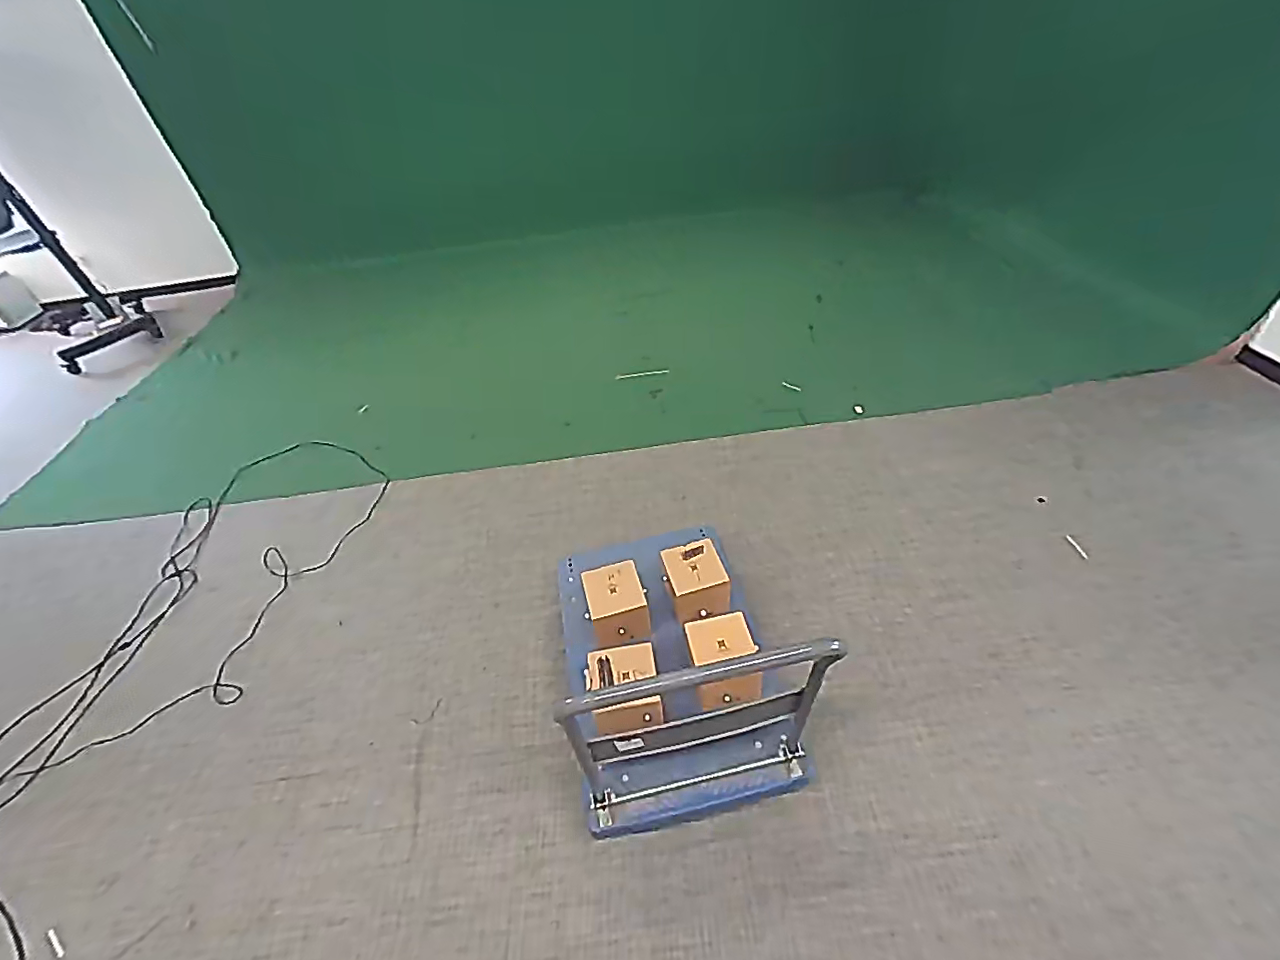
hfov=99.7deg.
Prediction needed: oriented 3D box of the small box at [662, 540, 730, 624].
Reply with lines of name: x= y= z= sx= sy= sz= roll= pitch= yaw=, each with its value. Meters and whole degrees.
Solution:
small box: x=0.172 y=0.321 z=1.695 sx=0.168 sy=0.176 sz=0.179 roll=-15 pitch=45 yaw=-6

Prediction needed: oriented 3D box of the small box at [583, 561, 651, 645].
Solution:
small box: x=-0.069 y=0.384 z=1.663 sx=0.168 sy=0.176 sz=0.179 roll=-14 pitch=43 yaw=-8

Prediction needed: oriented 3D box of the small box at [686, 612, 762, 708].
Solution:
small box: x=0.226 y=0.499 z=1.499 sx=0.168 sy=0.176 sz=0.179 roll=-11 pitch=43 yaw=-4
